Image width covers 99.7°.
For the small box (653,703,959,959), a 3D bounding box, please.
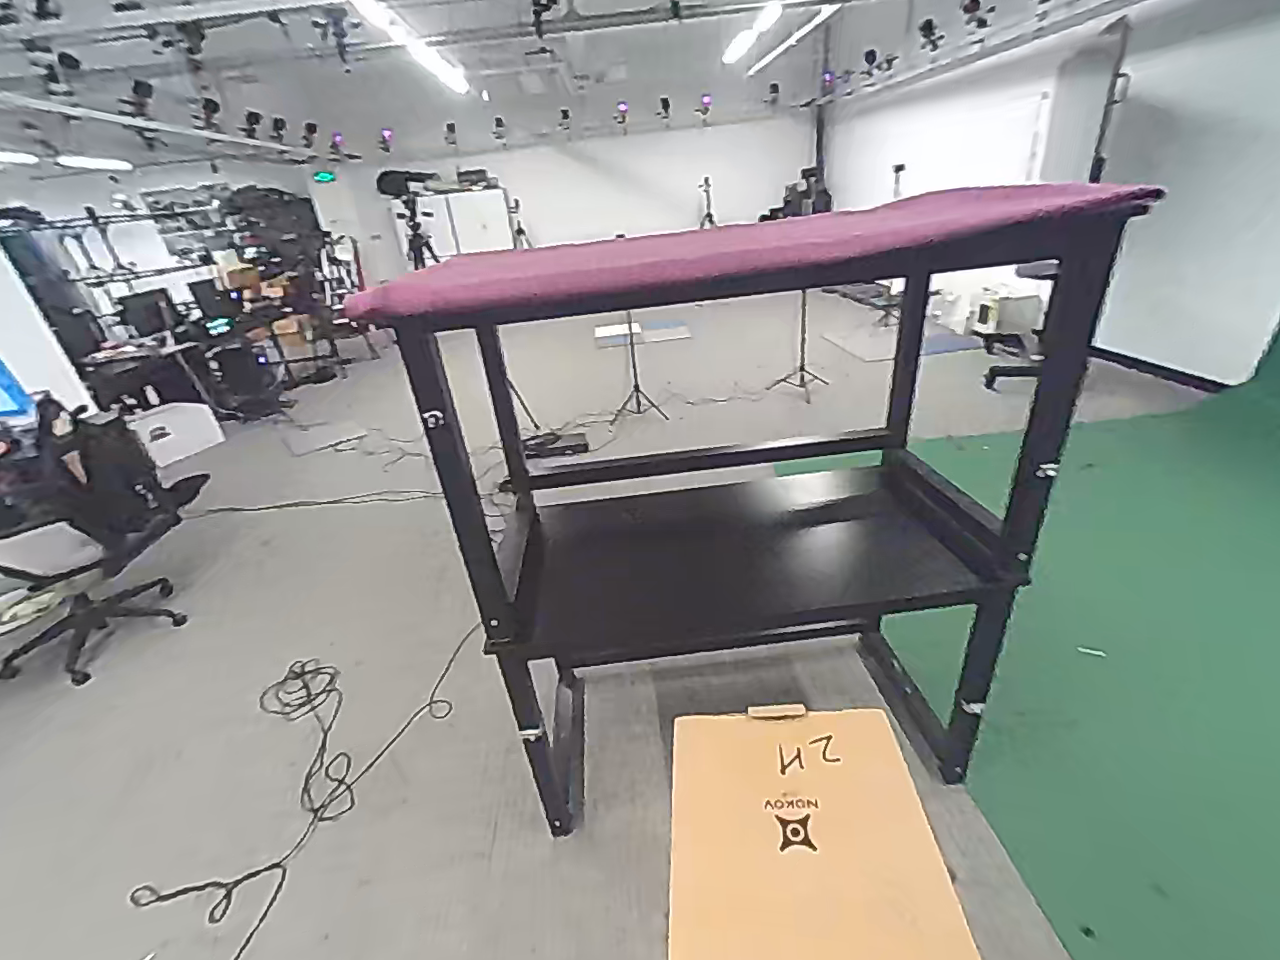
[{"bbox_3d":[0.107,0.295,0.396,0.168,0.176,0.179,-6,25,8],"label":"small box"}]
